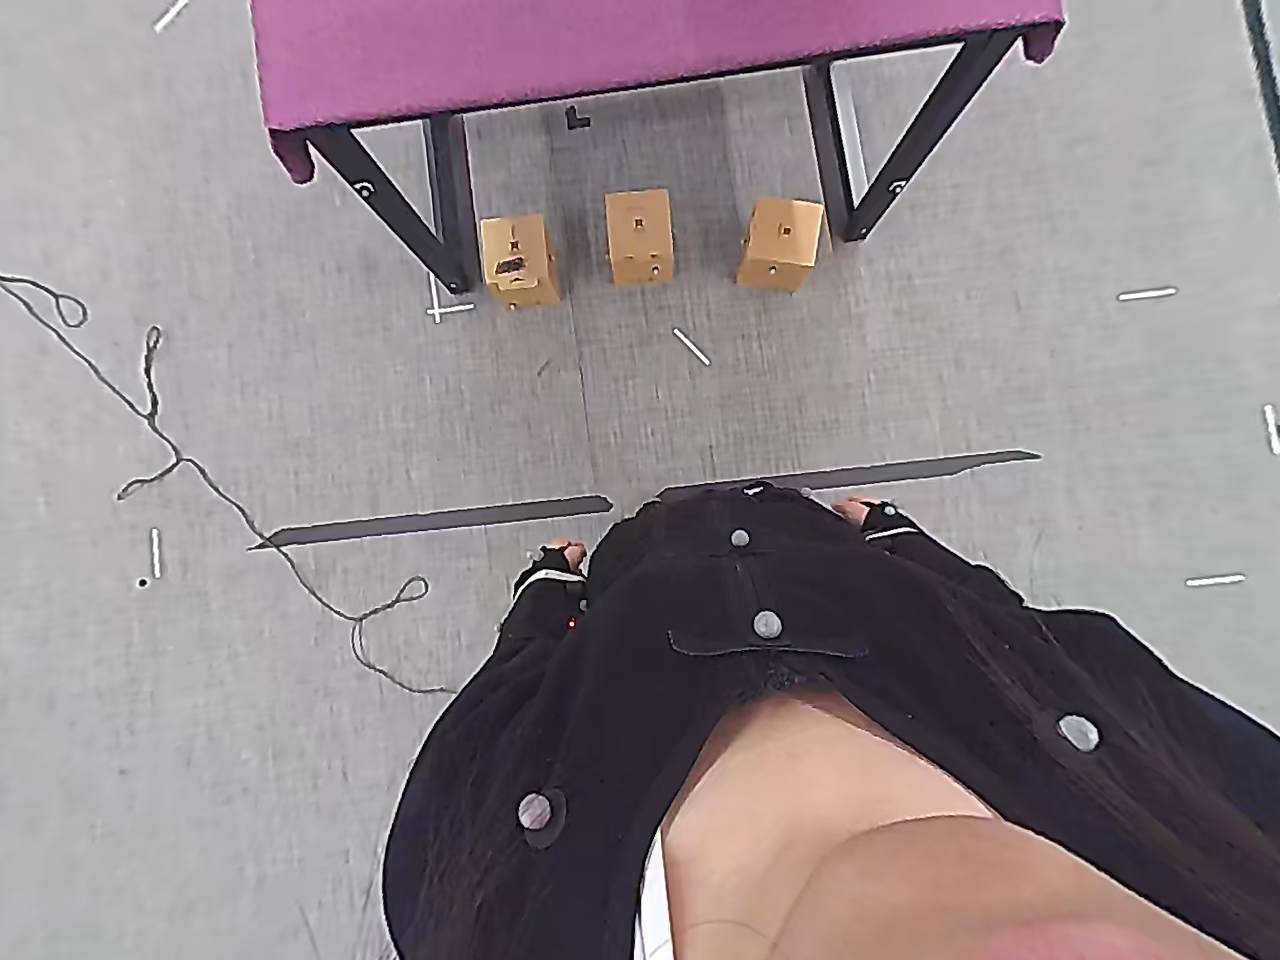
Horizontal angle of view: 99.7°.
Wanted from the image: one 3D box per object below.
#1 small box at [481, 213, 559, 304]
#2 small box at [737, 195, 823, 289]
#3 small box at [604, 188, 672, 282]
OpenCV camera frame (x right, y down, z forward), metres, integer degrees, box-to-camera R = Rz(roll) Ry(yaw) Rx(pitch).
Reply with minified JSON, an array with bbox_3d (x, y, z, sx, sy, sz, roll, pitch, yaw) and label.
[{"bbox_3d":[-0.321,-0.592,1.469,0.168,0.176,0.179,-6,86,1],"label":"small box"},{"bbox_3d":[0.370,-0.633,1.456,0.179,0.176,0.168,10,88,3],"label":"small box"},{"bbox_3d":[-0.003,-0.654,1.466,0.168,0.176,0.179,-5,86,0],"label":"small box"}]
